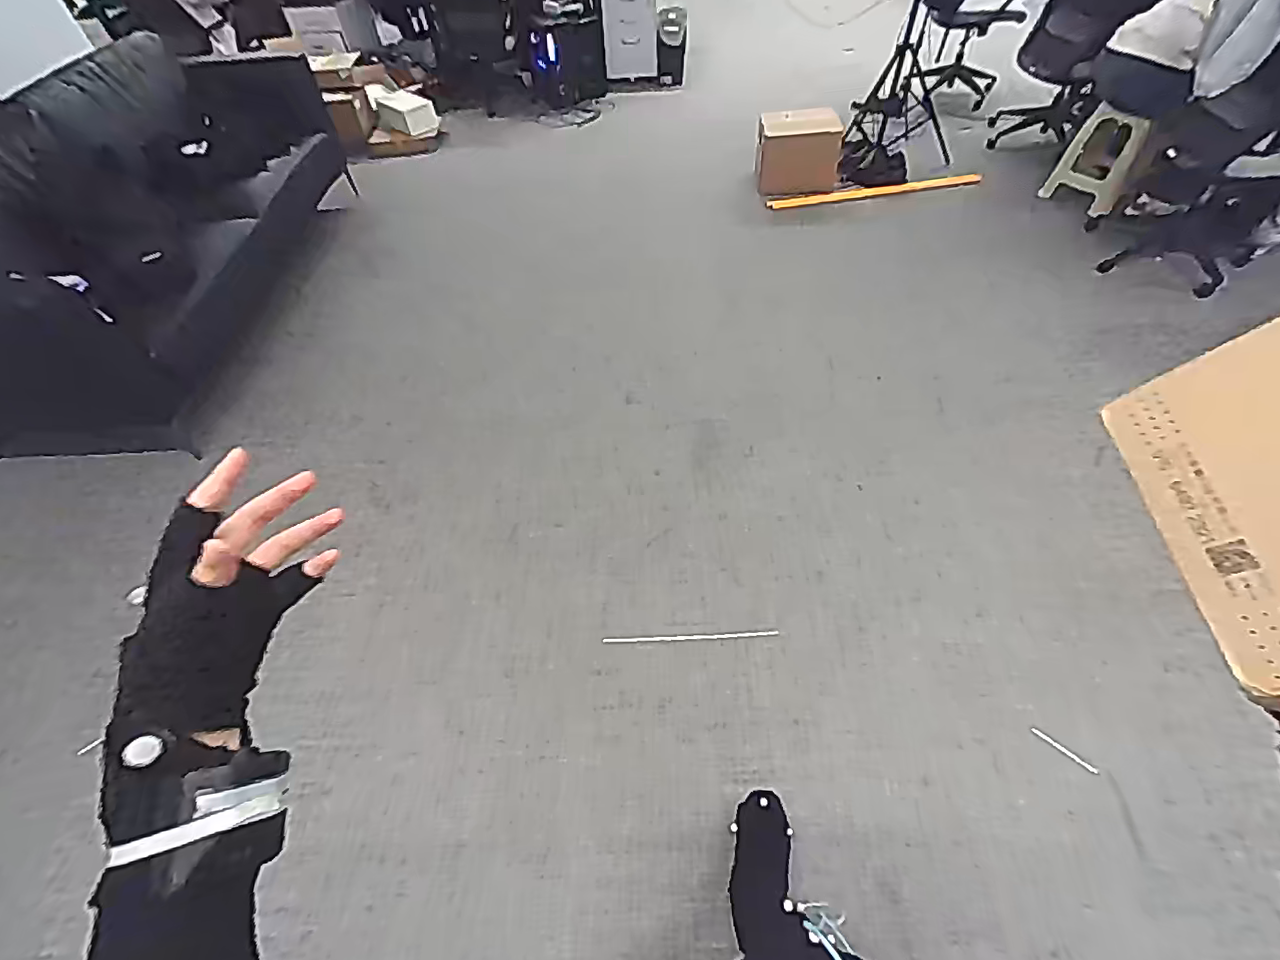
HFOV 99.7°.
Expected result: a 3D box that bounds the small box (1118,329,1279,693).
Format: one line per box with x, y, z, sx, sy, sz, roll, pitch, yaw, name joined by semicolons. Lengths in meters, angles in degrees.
0.380;0.010;0.246;0.179;0.176;0.168;18;55;-22;small box
